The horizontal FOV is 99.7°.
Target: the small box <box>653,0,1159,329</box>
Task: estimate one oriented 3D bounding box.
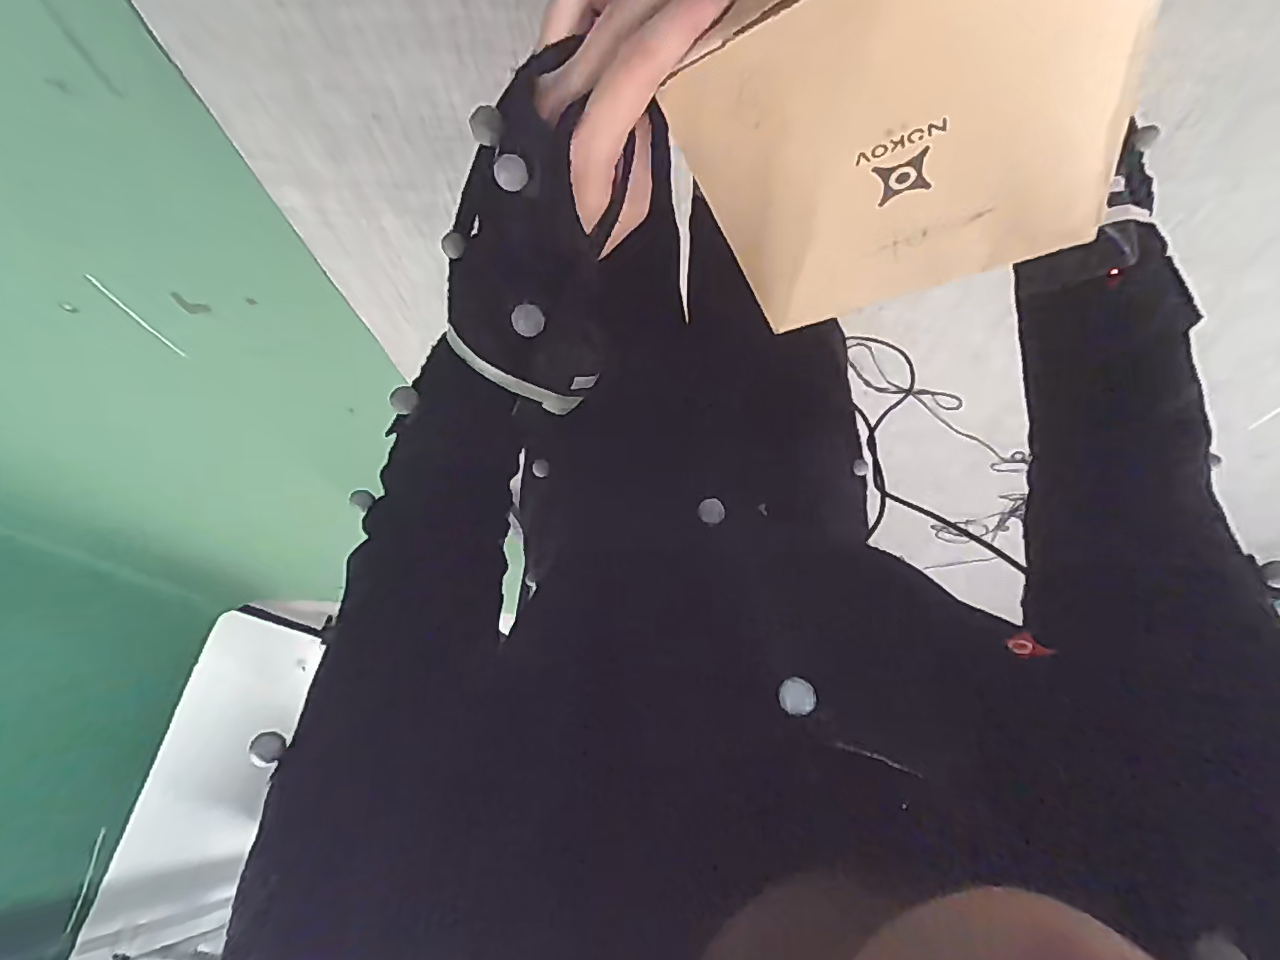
[{"bbox_3d":[0.115,-0.213,0.268,0.168,0.176,0.179,-11,156,27],"label":"small box"}]
